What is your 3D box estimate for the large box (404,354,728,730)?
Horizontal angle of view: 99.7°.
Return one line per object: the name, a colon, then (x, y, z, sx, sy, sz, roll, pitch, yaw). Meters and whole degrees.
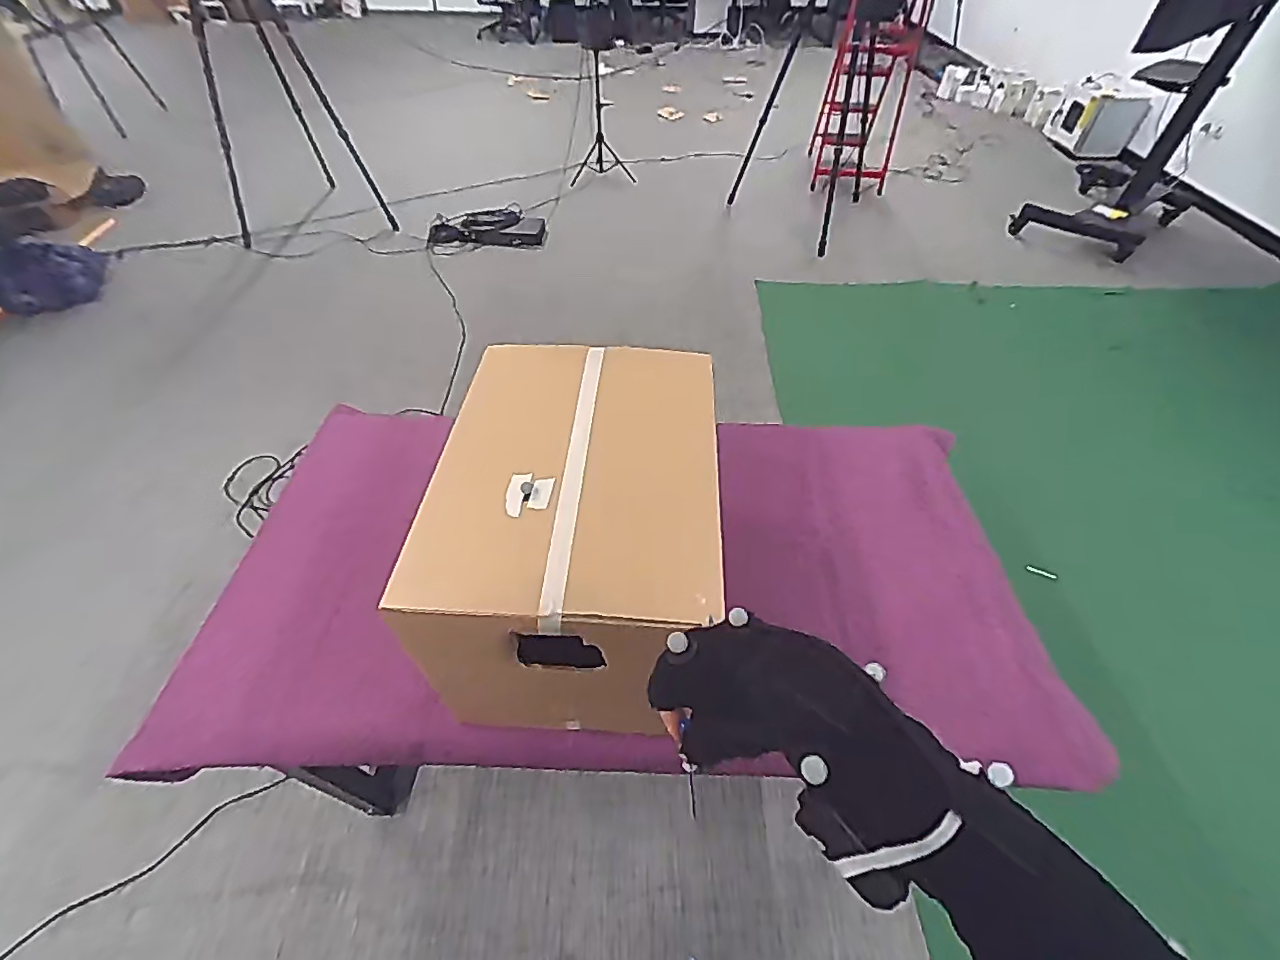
large box: (-0.066, 0.079, 0.742, 0.320, 0.320, 0.408, 3, 49, 2)
